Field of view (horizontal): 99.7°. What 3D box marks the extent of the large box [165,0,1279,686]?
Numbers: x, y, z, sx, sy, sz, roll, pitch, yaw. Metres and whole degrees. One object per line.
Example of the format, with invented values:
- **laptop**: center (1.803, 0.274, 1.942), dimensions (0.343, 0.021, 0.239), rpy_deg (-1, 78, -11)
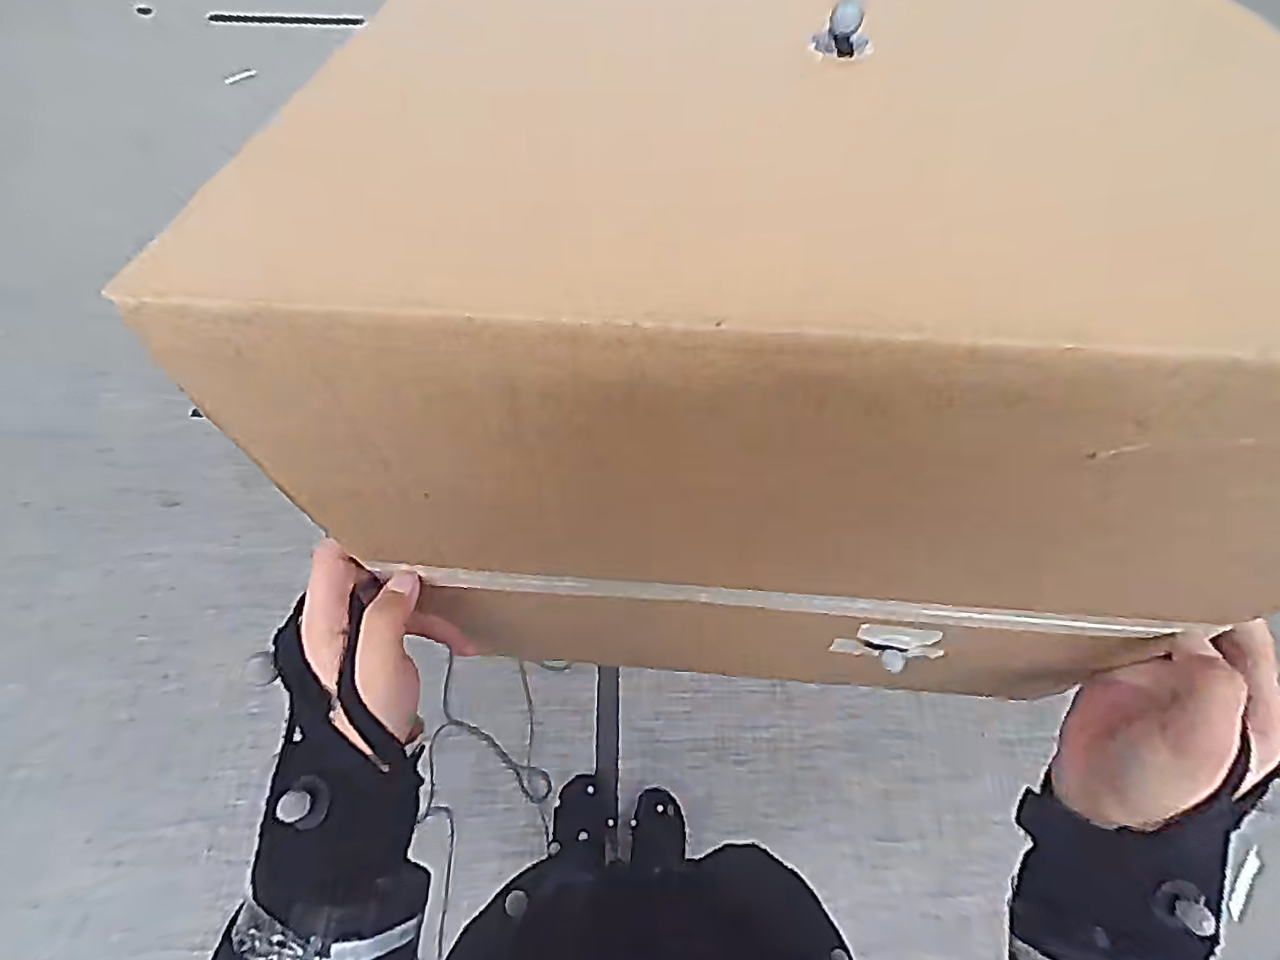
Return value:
- **large box**: center (0.073, -0.073, 0.343), dimensions (0.408, 0.320, 0.320), rpy_deg (3, 58, 2)
